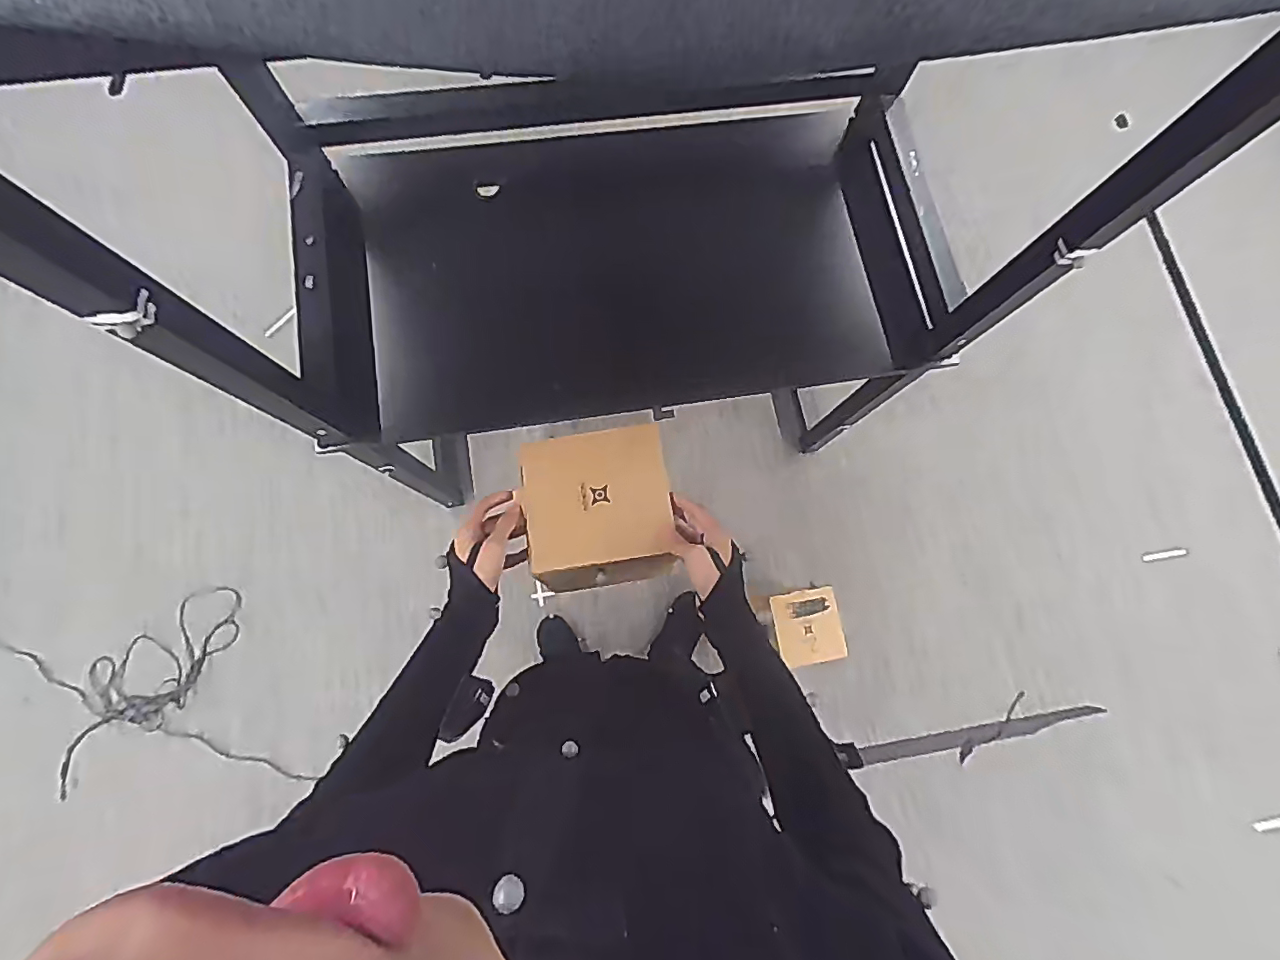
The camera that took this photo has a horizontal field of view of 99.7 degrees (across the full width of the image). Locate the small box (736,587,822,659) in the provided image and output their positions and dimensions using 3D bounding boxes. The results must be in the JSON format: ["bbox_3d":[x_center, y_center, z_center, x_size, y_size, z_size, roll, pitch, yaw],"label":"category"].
[{"bbox_3d":[0.392,0.404,1.553,0.179,0.176,0.168,-11,79,-4],"label":"small box"}]
